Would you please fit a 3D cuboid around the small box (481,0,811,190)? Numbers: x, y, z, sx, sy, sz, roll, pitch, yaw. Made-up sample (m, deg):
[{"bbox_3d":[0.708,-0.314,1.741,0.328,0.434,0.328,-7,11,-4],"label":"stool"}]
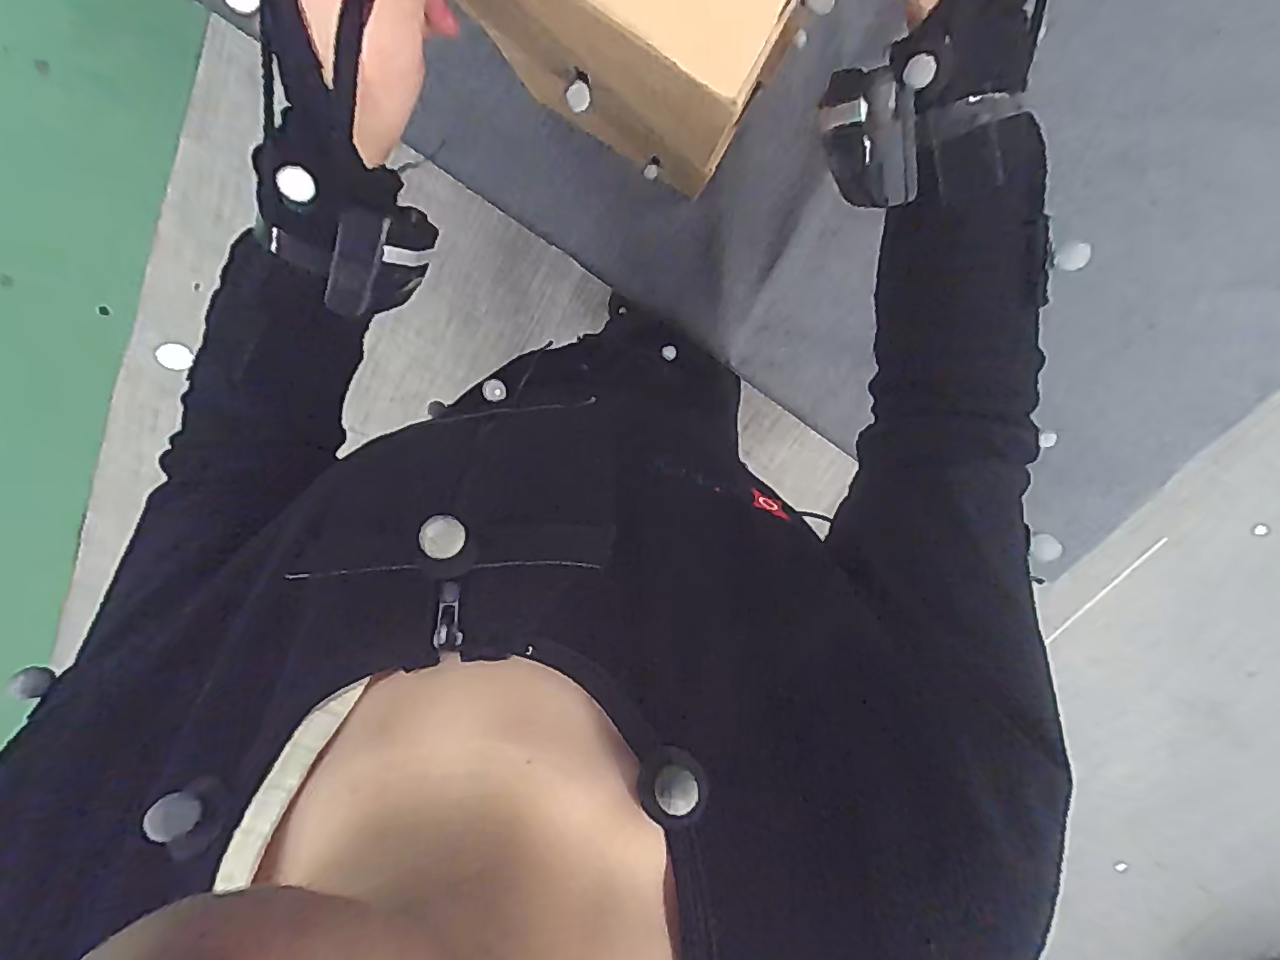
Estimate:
[{"bbox_3d":[0.015,-0.341,0.402,0.179,0.176,0.168,28,109,-9],"label":"small box"}]
